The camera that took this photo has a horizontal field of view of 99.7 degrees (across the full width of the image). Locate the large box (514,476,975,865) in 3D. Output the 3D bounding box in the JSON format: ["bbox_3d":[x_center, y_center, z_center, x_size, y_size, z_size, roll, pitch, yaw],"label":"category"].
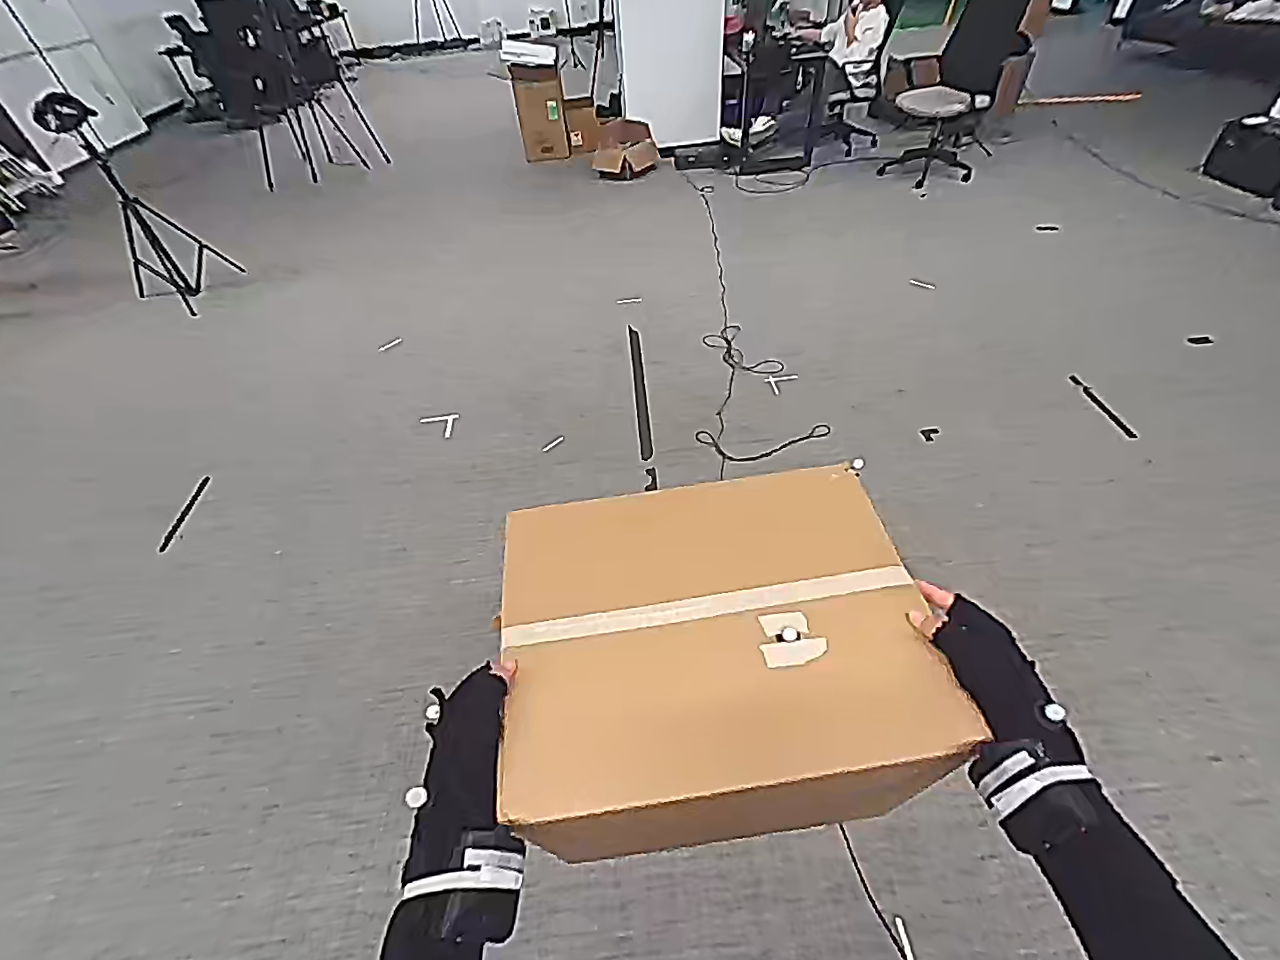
[{"bbox_3d":[0.079,0.234,0.658,0.408,0.320,0.320,-8,50,-2],"label":"large box"}]
